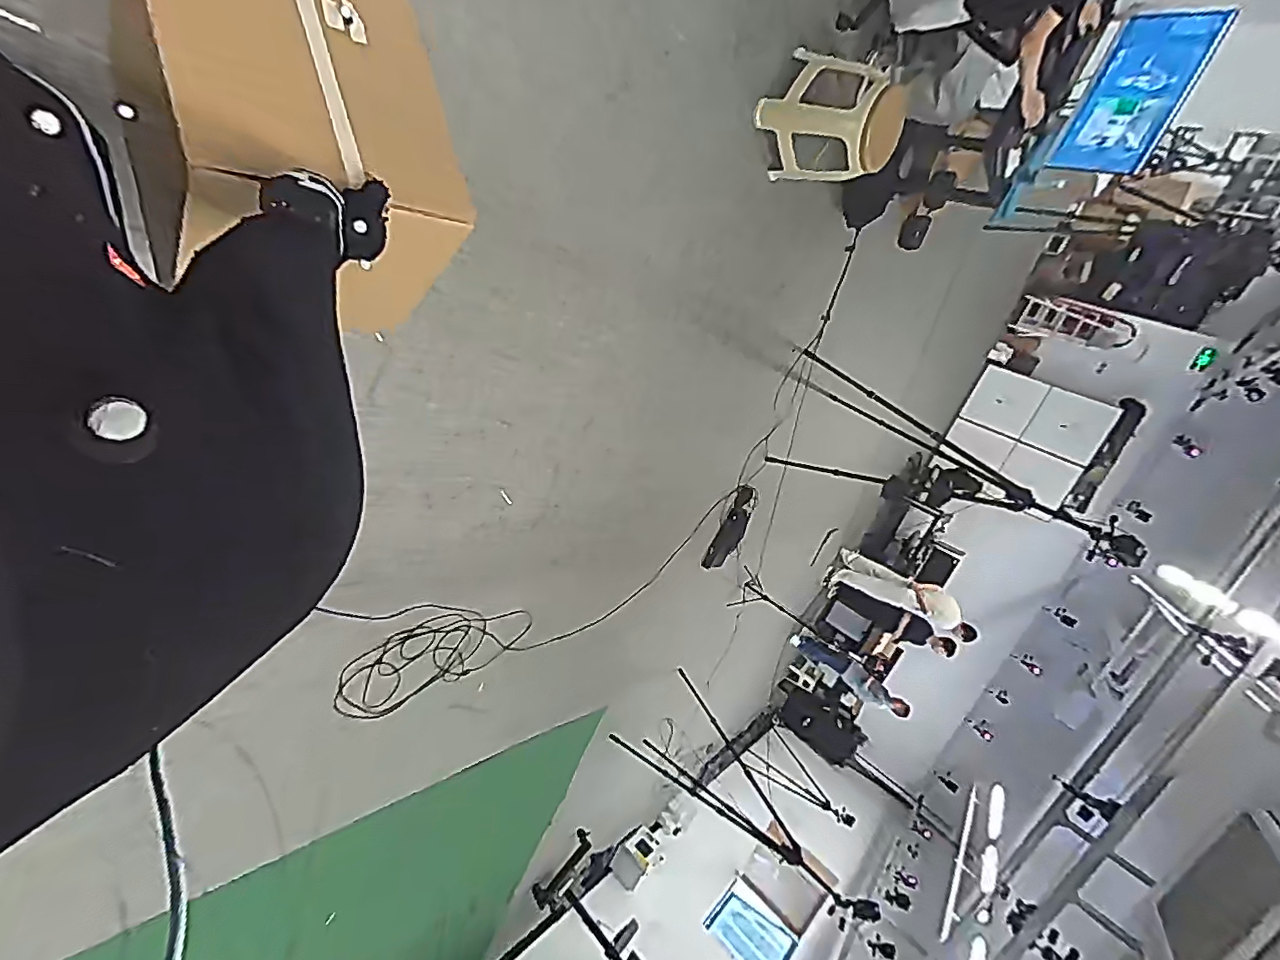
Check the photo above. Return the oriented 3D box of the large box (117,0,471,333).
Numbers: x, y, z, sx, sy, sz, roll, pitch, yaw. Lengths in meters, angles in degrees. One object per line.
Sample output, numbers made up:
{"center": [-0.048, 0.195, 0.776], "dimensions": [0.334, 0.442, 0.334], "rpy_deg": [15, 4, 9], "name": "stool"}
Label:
{"center": [-0.499, -0.463, 0.772], "dimensions": [0.320, 0.408, 0.320], "rpy_deg": [-12, 170, -46], "name": "large box"}
